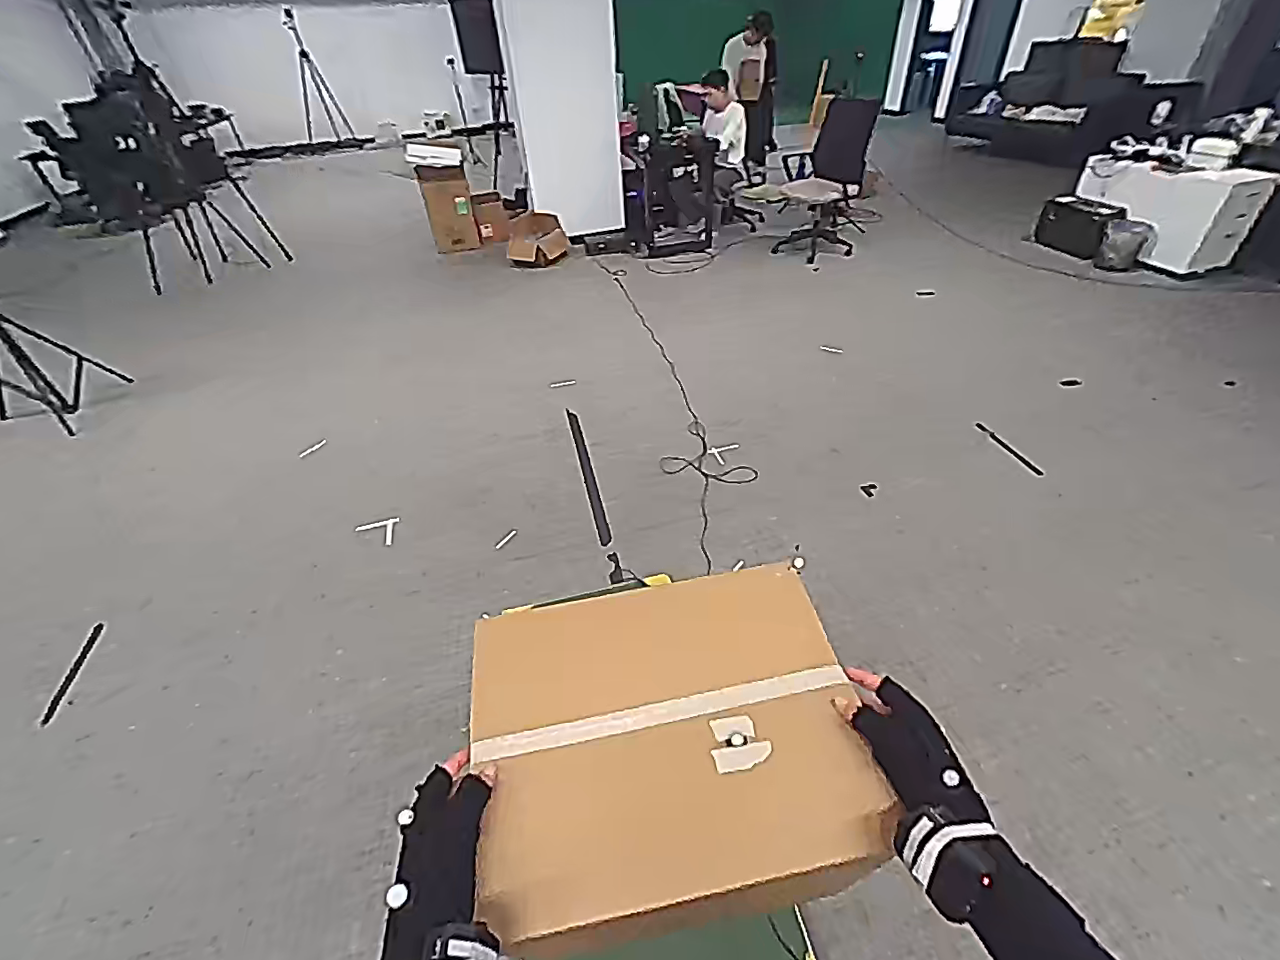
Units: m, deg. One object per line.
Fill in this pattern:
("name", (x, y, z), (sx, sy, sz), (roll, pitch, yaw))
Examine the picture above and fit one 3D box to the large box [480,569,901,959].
("large box", (0.031, 0.362, 0.694), (0.408, 0.320, 0.320), (-10, 46, -6))
